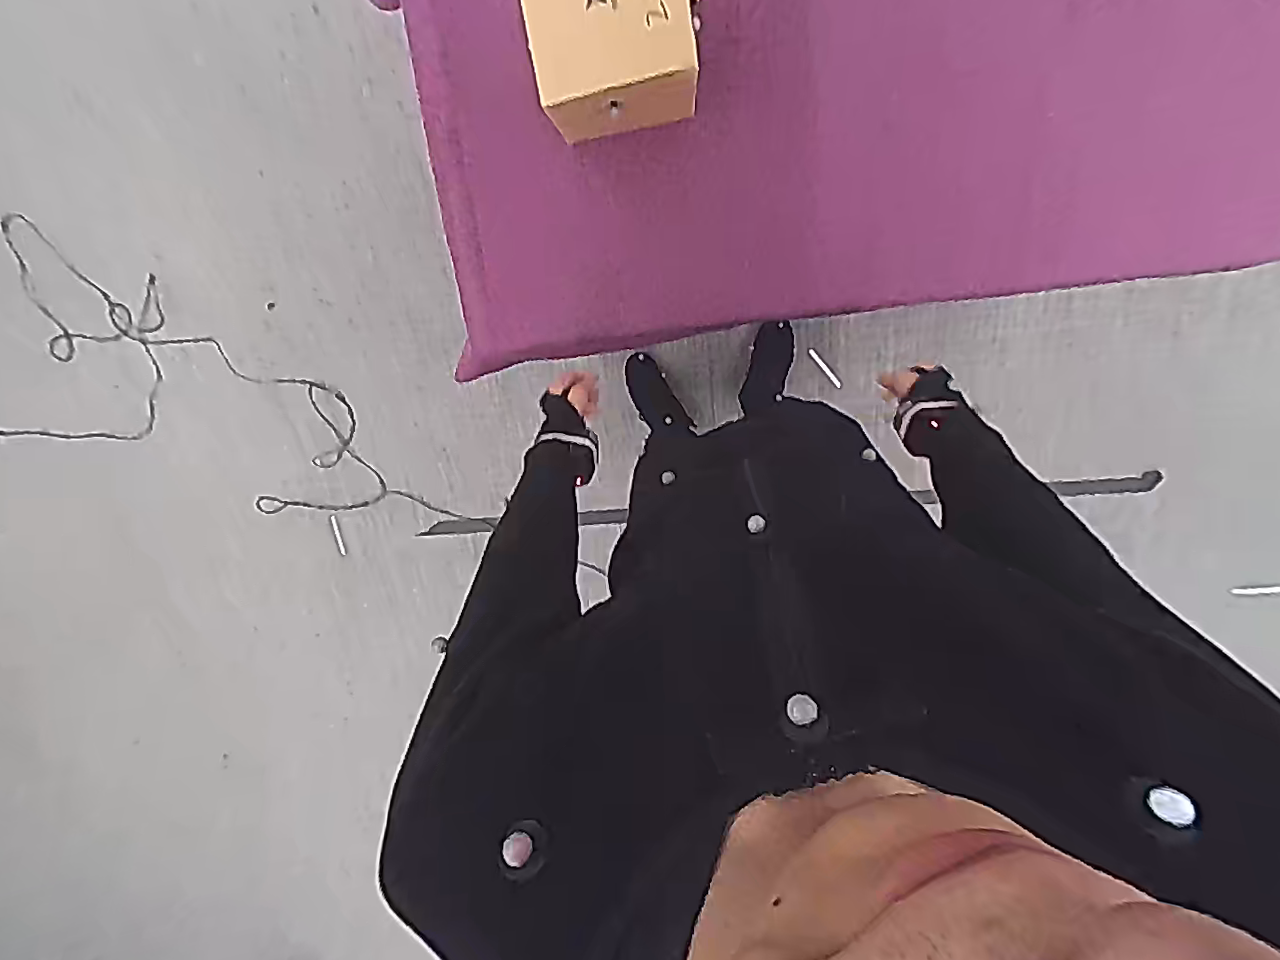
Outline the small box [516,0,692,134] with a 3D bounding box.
[{"bbox_3d":[-0.037,-0.523,0.622,0.179,0.176,0.168,-8,110,5],"label":"small box"}]
